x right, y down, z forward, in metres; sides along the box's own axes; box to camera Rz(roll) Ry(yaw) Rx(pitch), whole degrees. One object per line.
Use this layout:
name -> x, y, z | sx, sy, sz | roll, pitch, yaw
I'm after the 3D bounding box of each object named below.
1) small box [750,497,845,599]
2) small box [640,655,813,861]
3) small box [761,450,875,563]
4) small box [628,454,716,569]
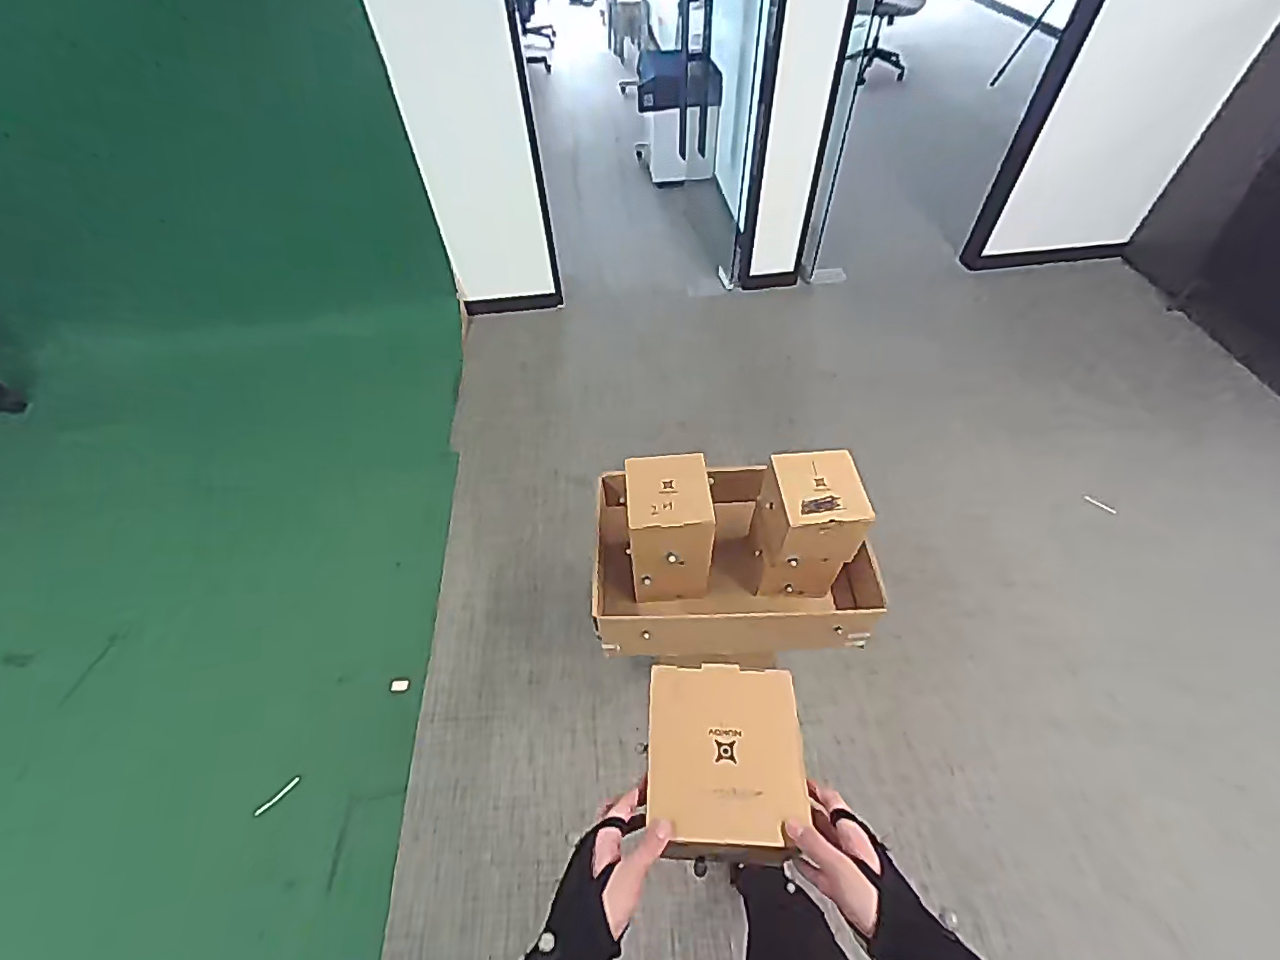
small box -> 0.354, 0.158, 1.254 | 0.168, 0.176, 0.179 | 0, 52, 2
small box -> 0.088, 0.328, 0.637 | 0.168, 0.176, 0.179 | 3, 50, 1
small box -> 0.358, 0.061, 1.120 | 0.168, 0.176, 0.179 | -4, 52, -1
small box -> 0.061, 0.067, 1.126 | 0.168, 0.176, 0.179 | -4, 52, 0
